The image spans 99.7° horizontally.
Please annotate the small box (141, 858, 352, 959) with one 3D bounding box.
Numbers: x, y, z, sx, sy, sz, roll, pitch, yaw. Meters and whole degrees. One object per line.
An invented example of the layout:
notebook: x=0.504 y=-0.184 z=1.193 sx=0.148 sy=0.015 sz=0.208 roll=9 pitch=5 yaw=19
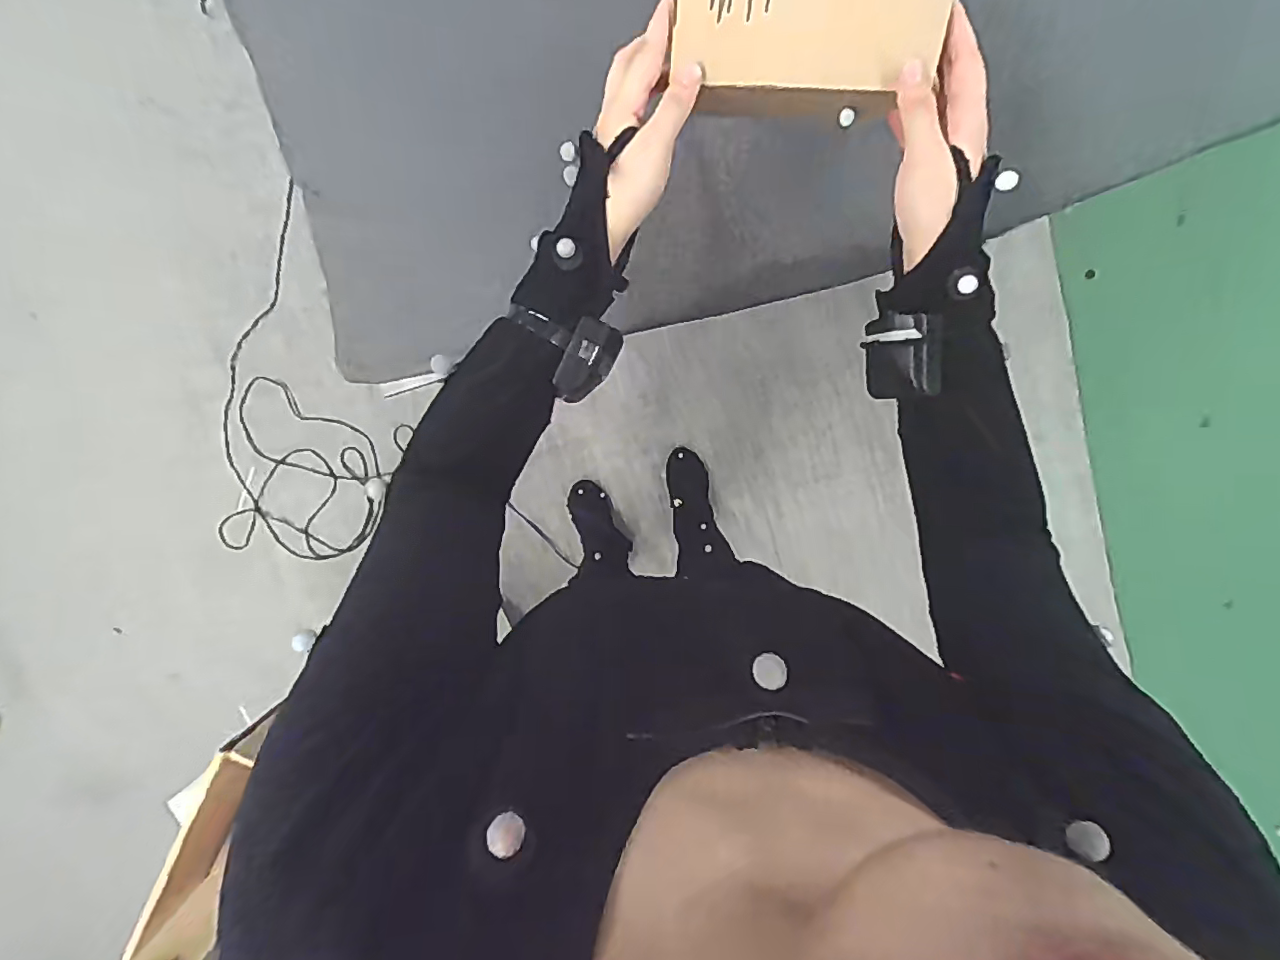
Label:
small box: x=-0.526 y=0.638 z=0.705 sx=0.168 sy=0.176 sz=0.179 roll=-26 pitch=100 yaw=9
